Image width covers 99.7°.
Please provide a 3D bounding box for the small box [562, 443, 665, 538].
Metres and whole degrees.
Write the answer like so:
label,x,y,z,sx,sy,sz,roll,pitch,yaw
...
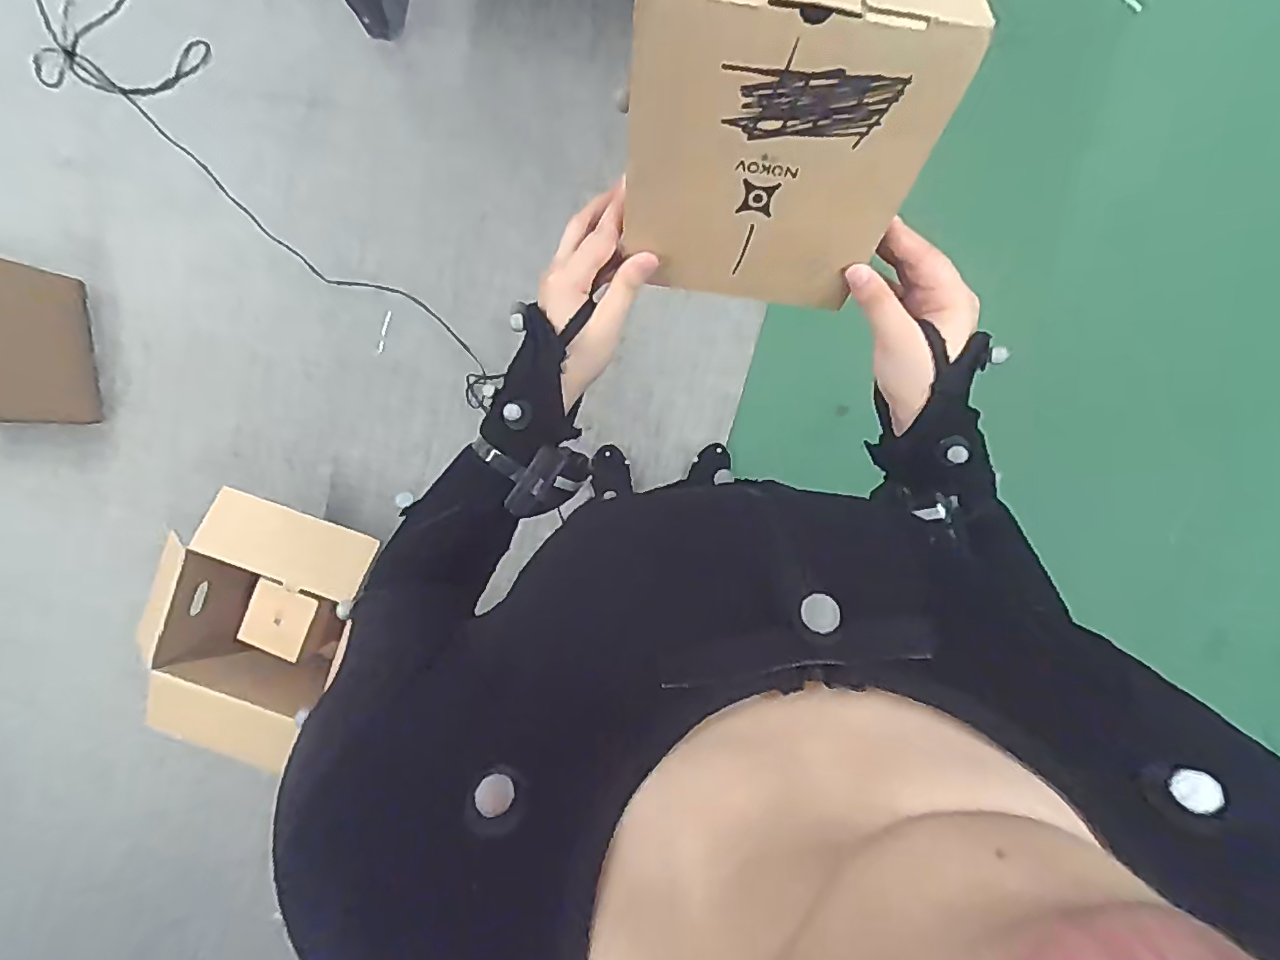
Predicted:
label,x,y,z,sx,sy,sz,roll,pitch,yaw
small box,-0.059,0.023,1.391,0.176,0.168,0.179,45,68,-29
